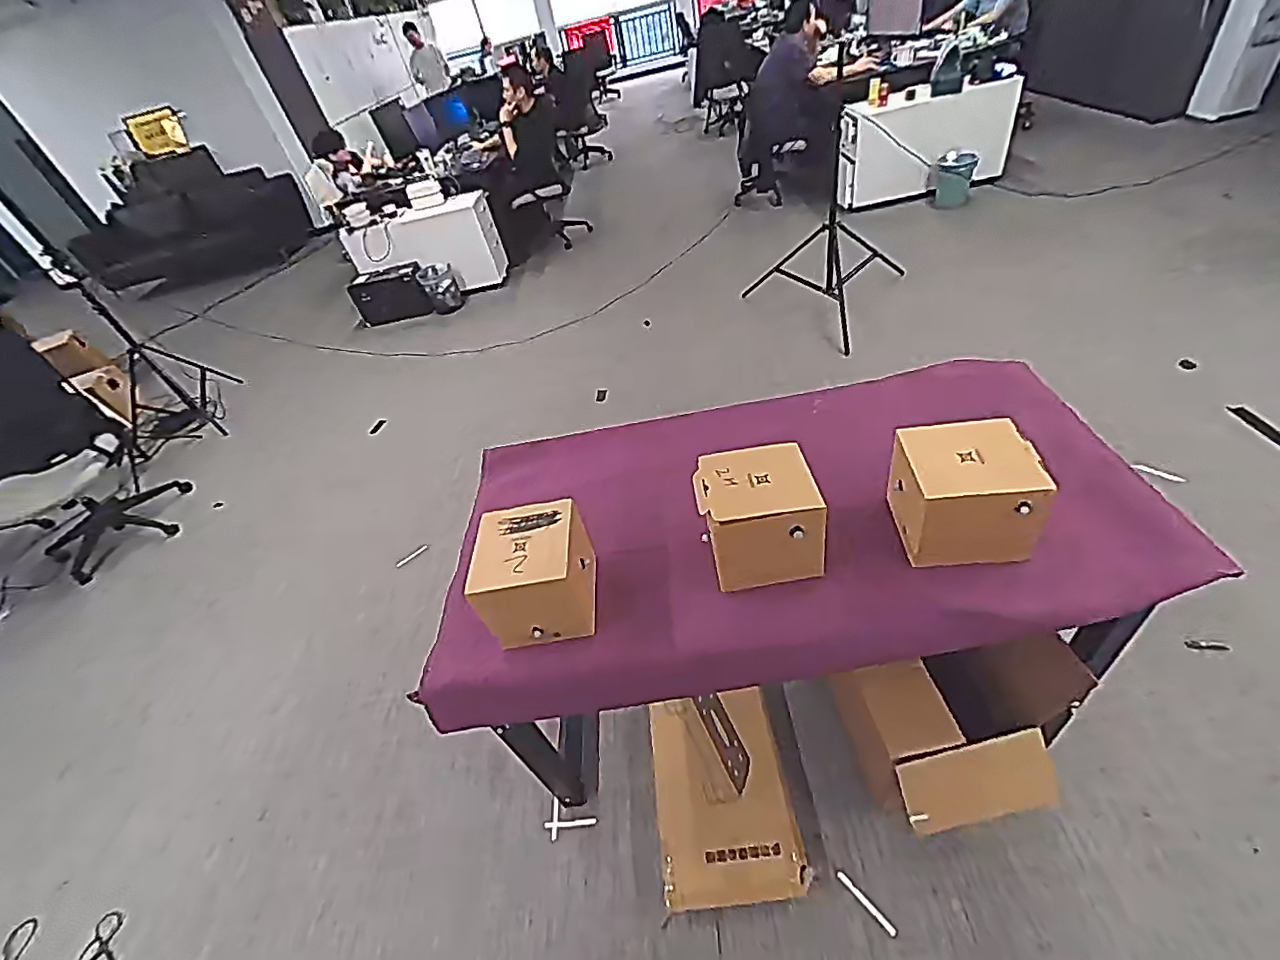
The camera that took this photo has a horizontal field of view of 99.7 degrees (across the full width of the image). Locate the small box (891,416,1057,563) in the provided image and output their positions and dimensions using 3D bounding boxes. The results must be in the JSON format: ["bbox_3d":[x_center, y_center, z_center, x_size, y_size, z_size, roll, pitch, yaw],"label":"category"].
[{"bbox_3d":[0.519,0.020,0.877,0.179,0.176,0.168,-6,43,10],"label":"small box"}]

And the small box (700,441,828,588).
[{"bbox_3d":[0.207,0.061,0.922,0.179,0.176,0.168,-11,40,5],"label":"small box"}]
